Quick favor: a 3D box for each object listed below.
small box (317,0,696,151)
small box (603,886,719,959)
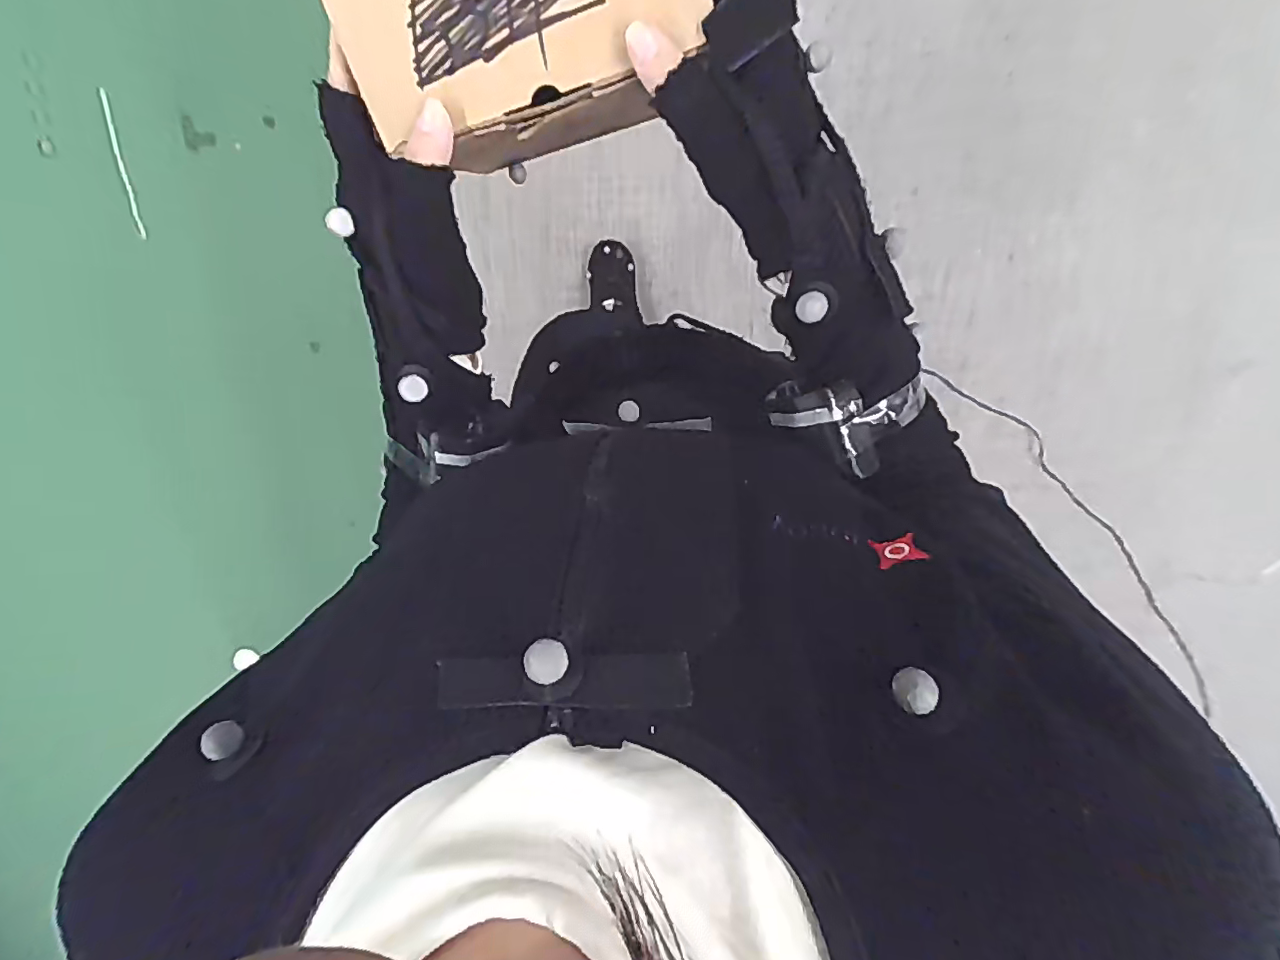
[{"bbox_3d":[-0.069,-0.294,0.286,0.168,0.176,0.179,-13,115,8],"label":"small box"},{"bbox_3d":[0.038,0.790,0.867,0.179,0.176,0.168,-7,110,8],"label":"small box"}]
